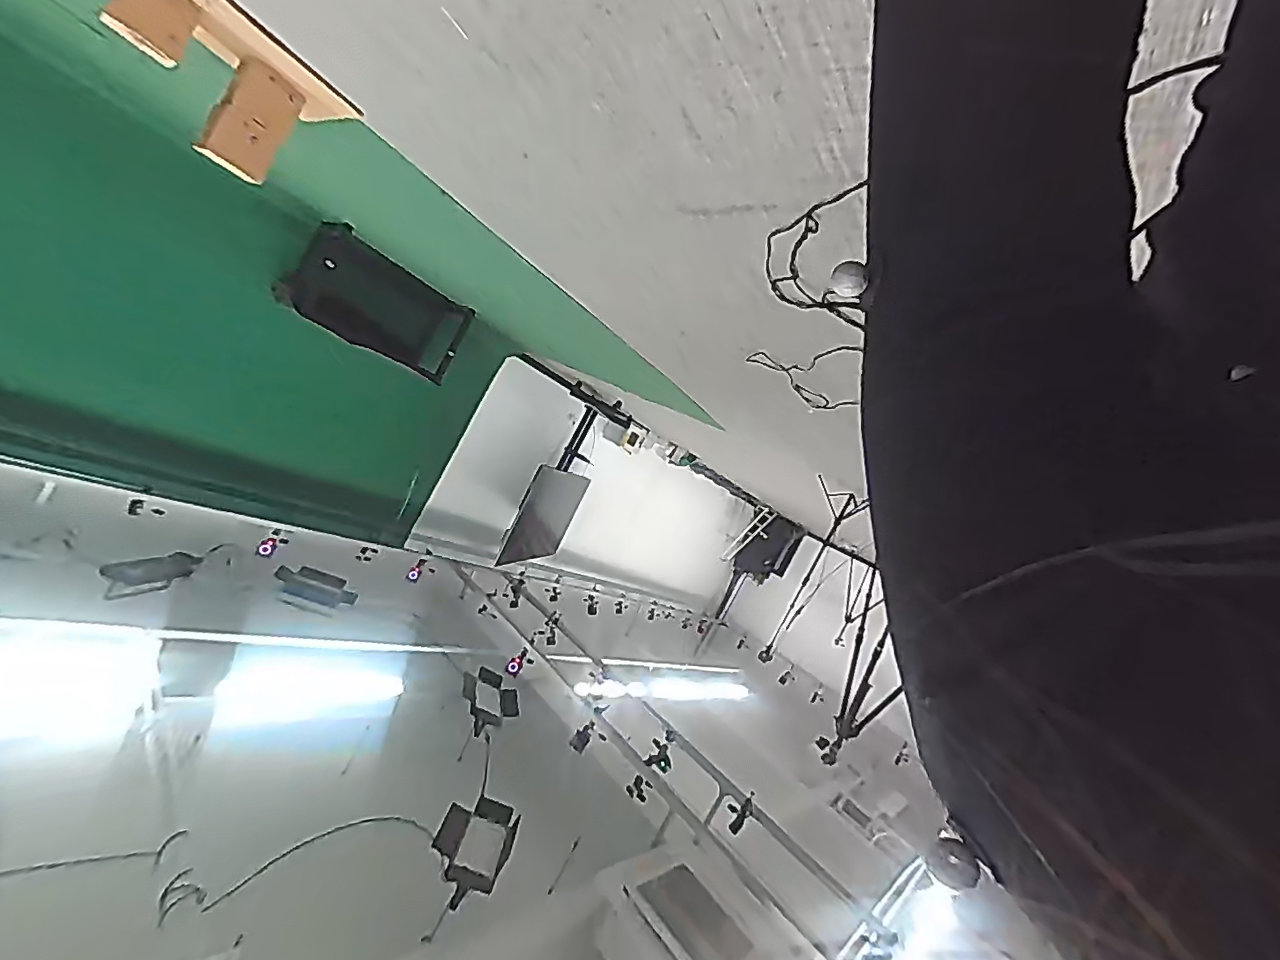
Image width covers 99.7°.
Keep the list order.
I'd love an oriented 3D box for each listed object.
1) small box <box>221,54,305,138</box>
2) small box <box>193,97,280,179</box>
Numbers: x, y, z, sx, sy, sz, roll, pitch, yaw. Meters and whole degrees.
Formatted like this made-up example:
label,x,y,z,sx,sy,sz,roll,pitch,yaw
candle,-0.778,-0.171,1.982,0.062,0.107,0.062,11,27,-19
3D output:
label,x,y,z,sx,sy,sz,roll,pitch,yaw
small box,-1.265,-1.291,1.817,0.179,0.176,0.168,30,-178,36
small box,-1.355,-1.155,1.823,0.179,0.176,0.168,29,-179,35
